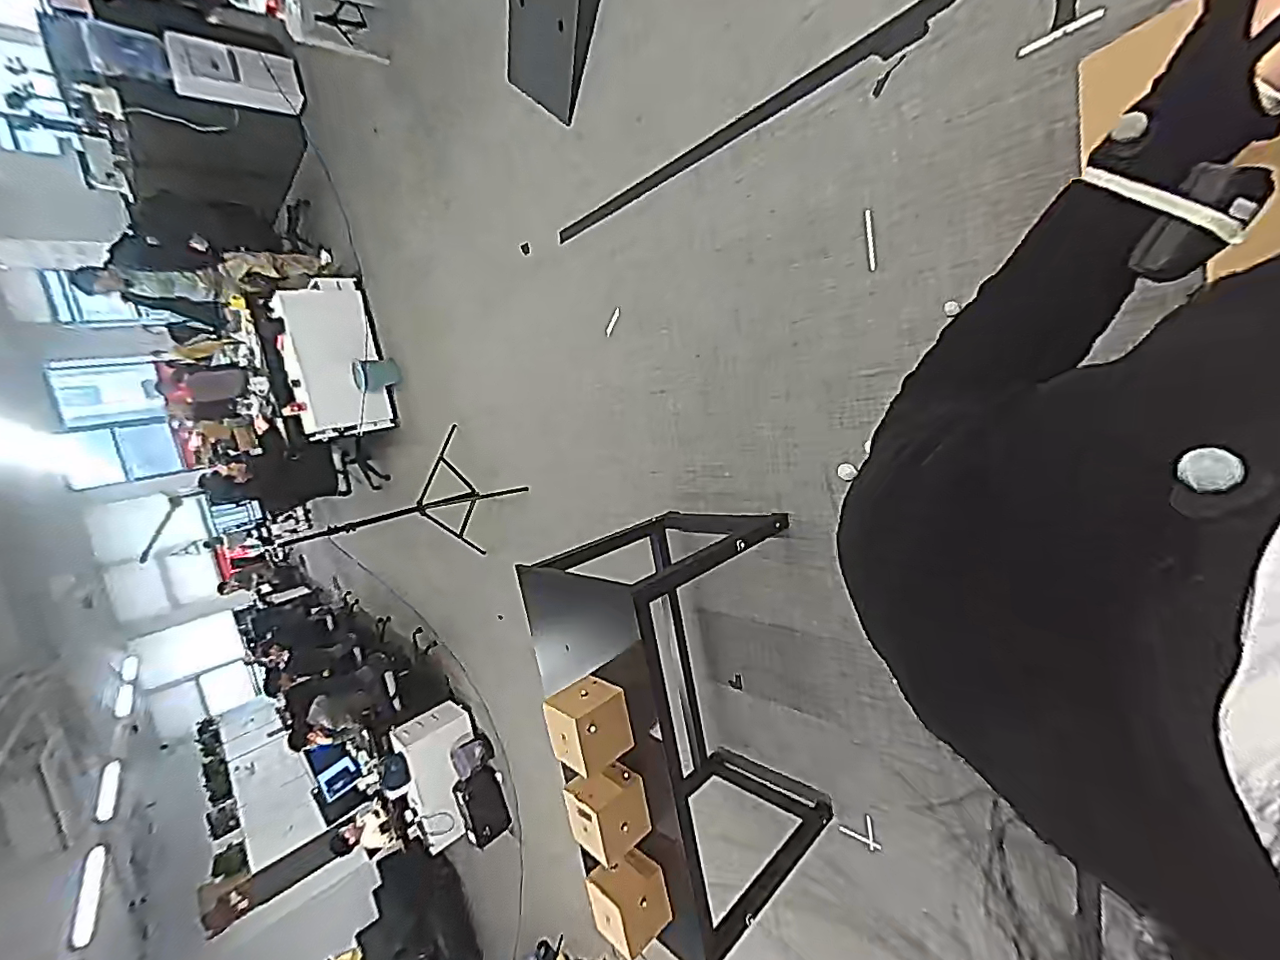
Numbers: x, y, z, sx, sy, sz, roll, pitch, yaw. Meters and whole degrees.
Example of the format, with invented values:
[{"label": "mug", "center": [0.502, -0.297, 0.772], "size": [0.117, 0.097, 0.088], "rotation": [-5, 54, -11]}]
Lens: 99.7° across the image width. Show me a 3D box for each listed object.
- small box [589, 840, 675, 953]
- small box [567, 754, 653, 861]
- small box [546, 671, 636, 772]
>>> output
[{"label": "small box", "center": [-0.022, 1.214, 1.598], "size": [0.168, 0.176, 0.179], "rotation": [-4, 101, 51]}, {"label": "small box", "center": [-0.084, 0.928, 1.560], "size": [0.168, 0.176, 0.179], "rotation": [1, 105, 49]}, {"label": "small box", "center": [-0.135, 0.666, 1.518], "size": [0.168, 0.176, 0.179], "rotation": [-1, 104, 50]}]
